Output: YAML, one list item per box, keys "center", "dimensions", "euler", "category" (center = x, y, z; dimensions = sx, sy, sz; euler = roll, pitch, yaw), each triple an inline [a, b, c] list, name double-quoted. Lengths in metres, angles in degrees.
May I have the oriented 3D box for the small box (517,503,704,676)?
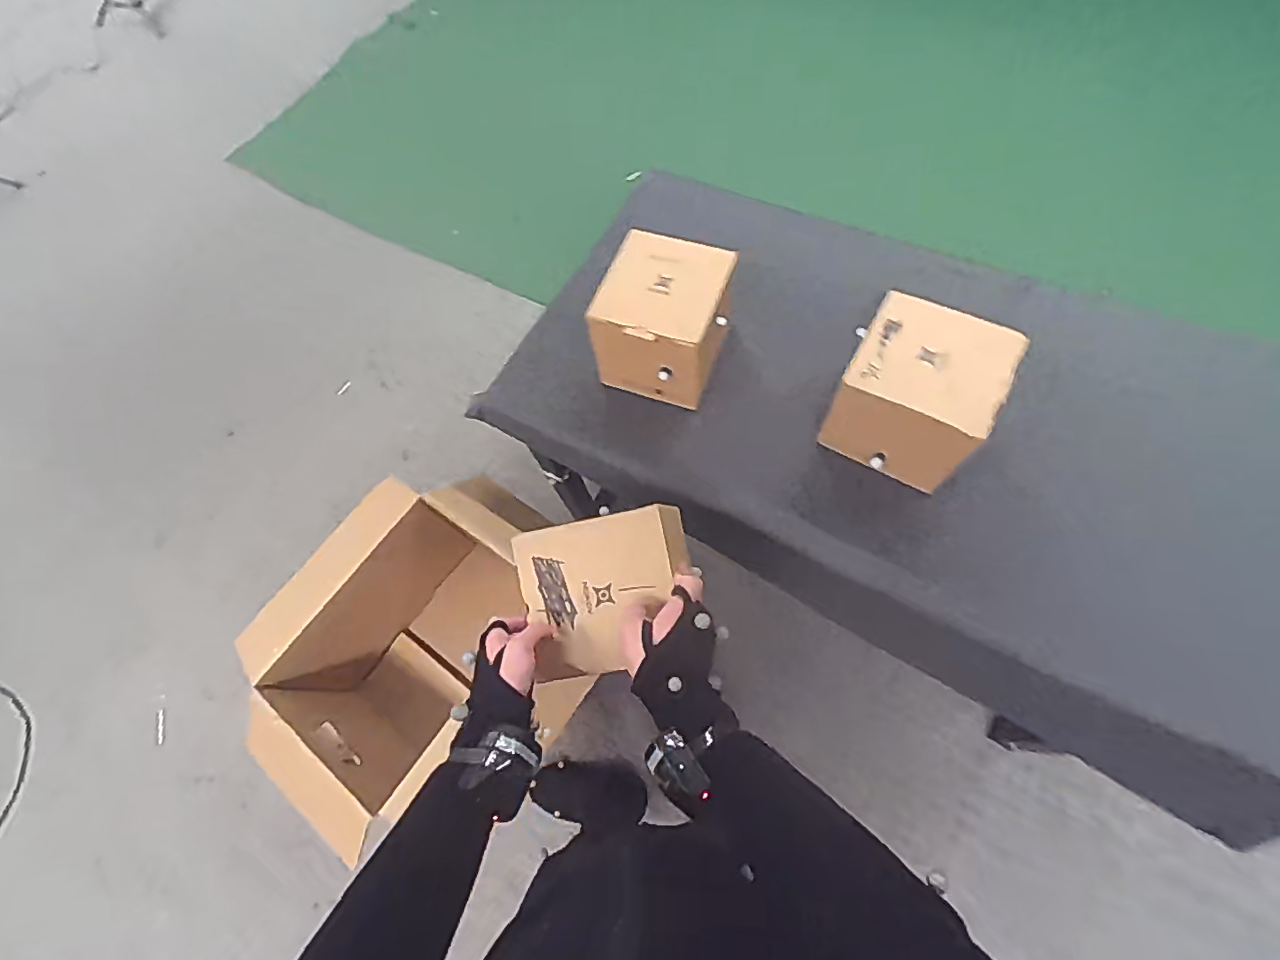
- center: [-0.027, 0.126, 0.662]
  dimensions: [0.179, 0.176, 0.168]
  euler: [-12, 84, 10]
  category: "small box"

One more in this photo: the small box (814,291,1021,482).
- center: [0.368, -0.118, 0.747]
  dimensions: [0.179, 0.176, 0.168]
  euler: [28, 72, 16]
  category: "small box"

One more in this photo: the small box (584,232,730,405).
- center: [0.032, -0.243, 0.839]
  dimensions: [0.168, 0.176, 0.179]
  euler: [18, 68, 12]
  category: "small box"
